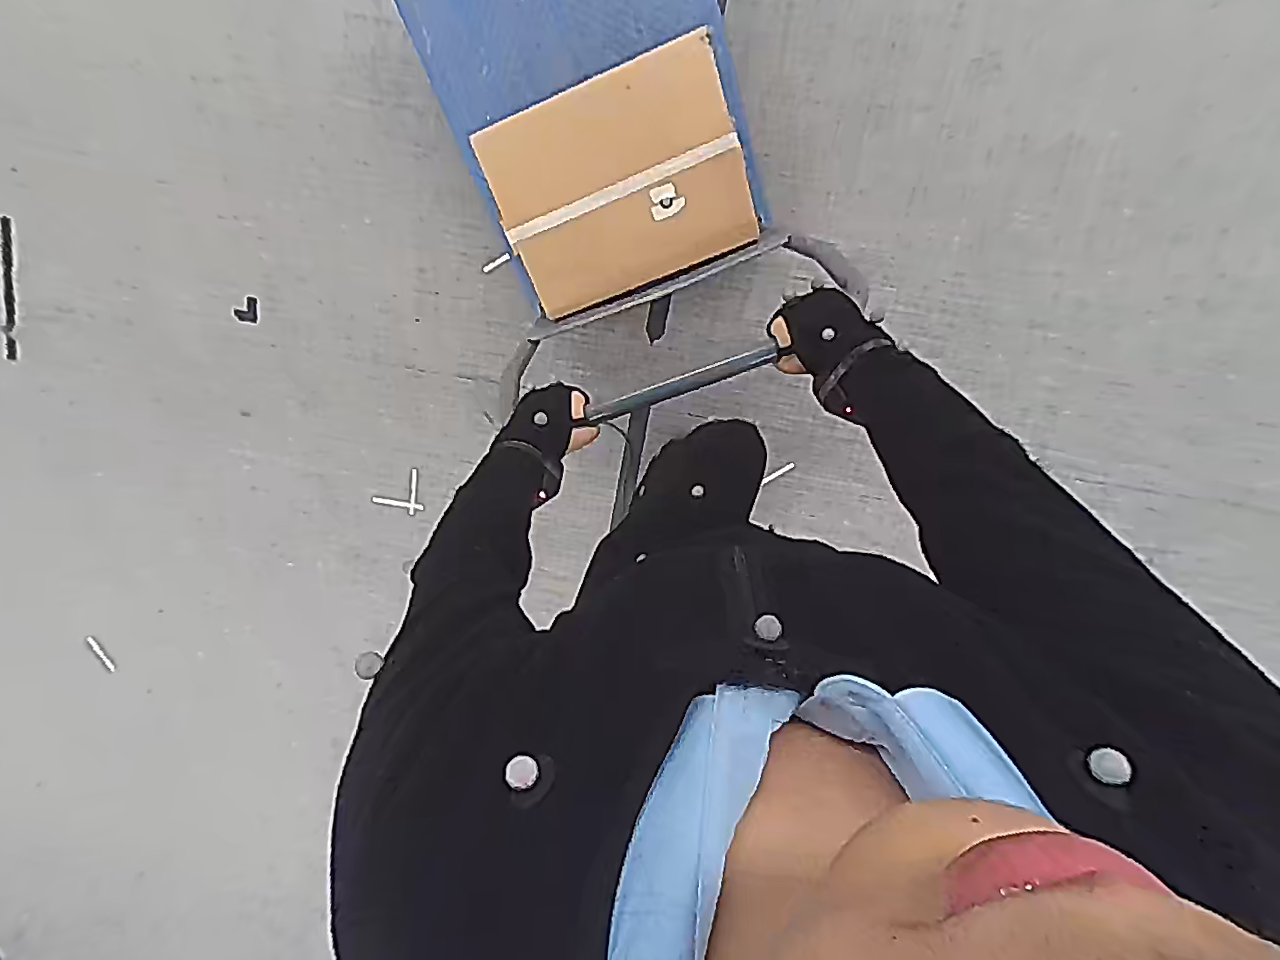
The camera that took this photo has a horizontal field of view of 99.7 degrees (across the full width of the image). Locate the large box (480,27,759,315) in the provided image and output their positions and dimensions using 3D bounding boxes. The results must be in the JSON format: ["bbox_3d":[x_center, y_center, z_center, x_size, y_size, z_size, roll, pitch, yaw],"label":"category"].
[{"bbox_3d":[-0.030,-0.561,1.051,0.408,0.320,0.320,-20,115,8],"label":"large box"}]
